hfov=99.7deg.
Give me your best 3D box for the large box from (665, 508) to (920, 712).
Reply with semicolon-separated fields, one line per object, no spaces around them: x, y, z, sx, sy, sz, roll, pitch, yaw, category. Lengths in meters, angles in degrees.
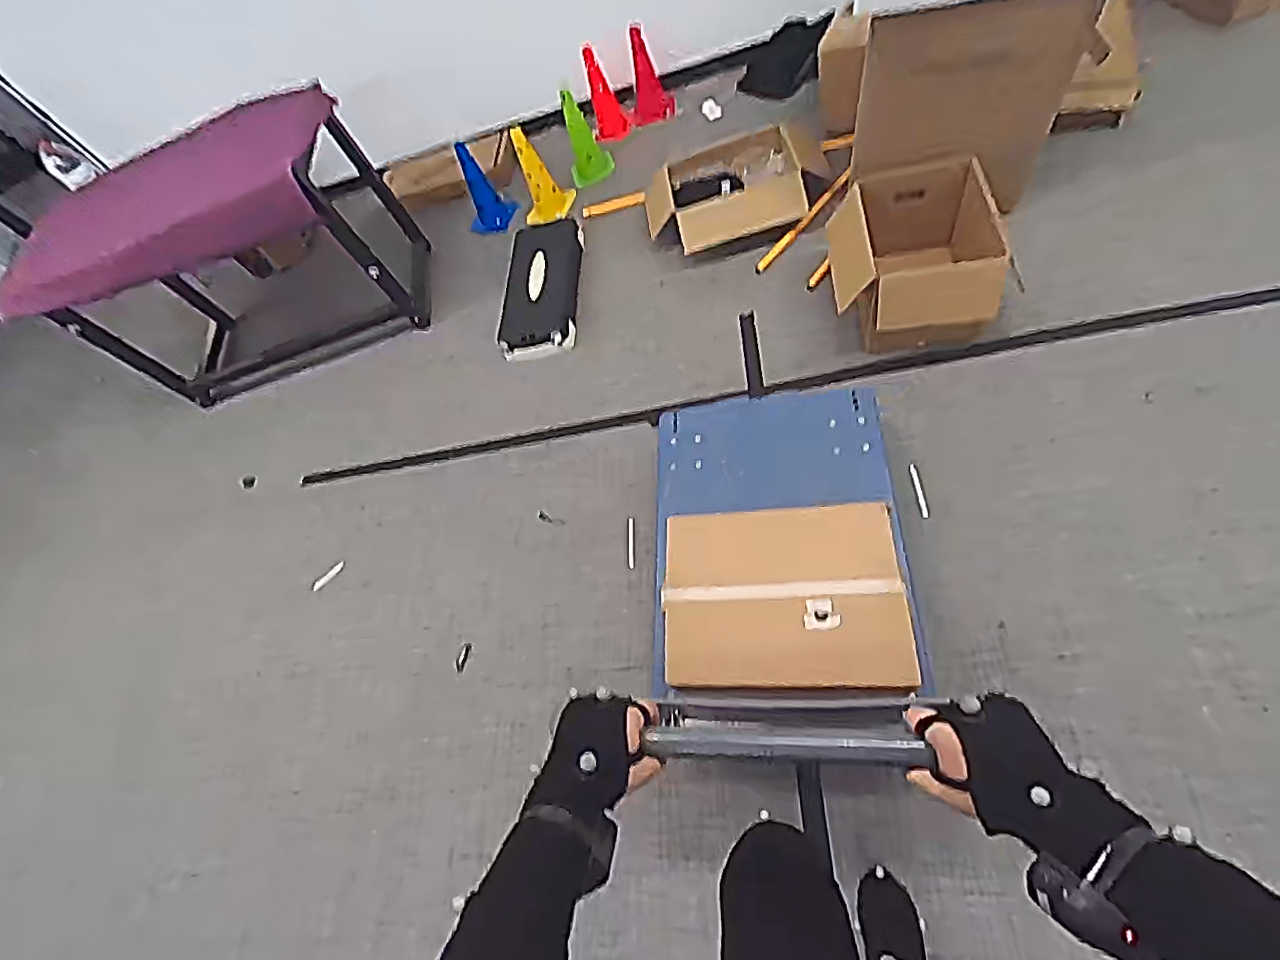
0.272;0.272;1.058;0.408;0.320;0.320;-5;62;14;large box
